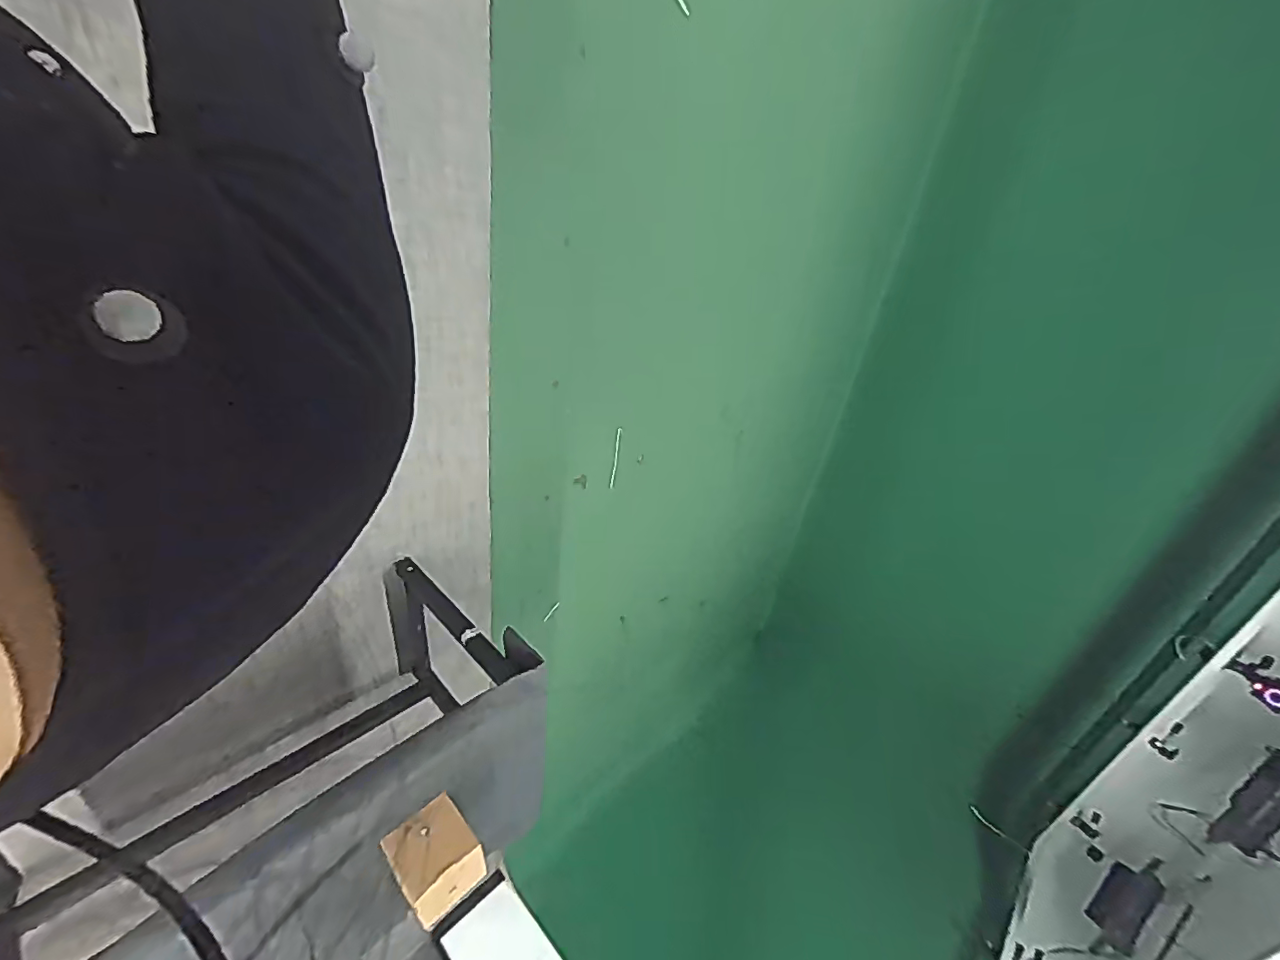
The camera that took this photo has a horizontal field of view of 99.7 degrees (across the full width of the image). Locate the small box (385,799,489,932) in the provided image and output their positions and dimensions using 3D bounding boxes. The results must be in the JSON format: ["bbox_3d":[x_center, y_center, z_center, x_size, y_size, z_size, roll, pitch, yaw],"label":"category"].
[{"bbox_3d":[-0.486,0.917,1.301,0.168,0.176,0.179,-28,136,-39],"label":"small box"}]
